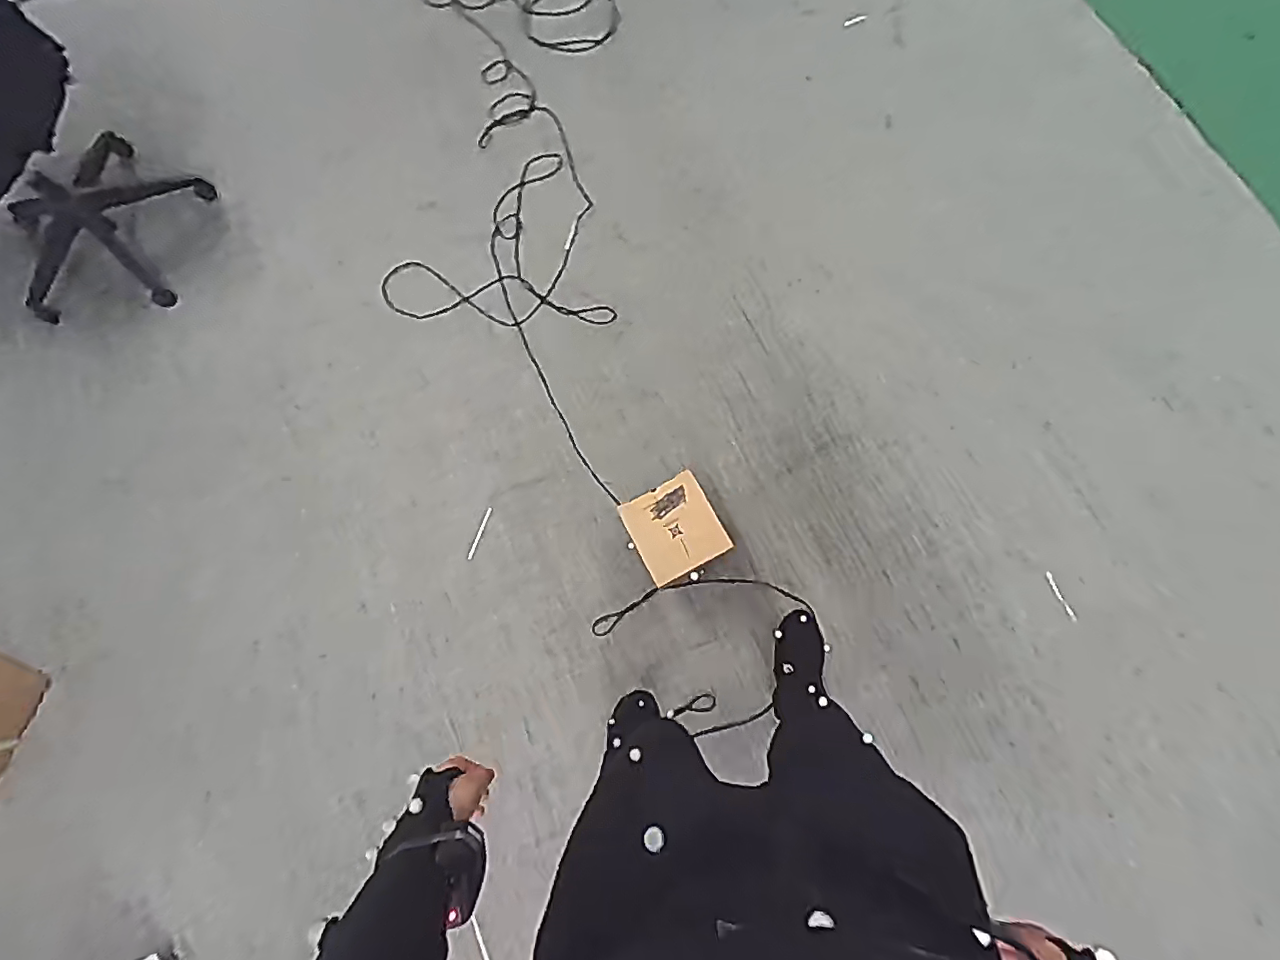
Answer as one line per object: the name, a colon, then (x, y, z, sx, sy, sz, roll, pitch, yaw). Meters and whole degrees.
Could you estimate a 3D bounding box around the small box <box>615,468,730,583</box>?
small box: (0.065, 0.102, 1.109, 0.168, 0.176, 0.179, -28, 78, -1)
